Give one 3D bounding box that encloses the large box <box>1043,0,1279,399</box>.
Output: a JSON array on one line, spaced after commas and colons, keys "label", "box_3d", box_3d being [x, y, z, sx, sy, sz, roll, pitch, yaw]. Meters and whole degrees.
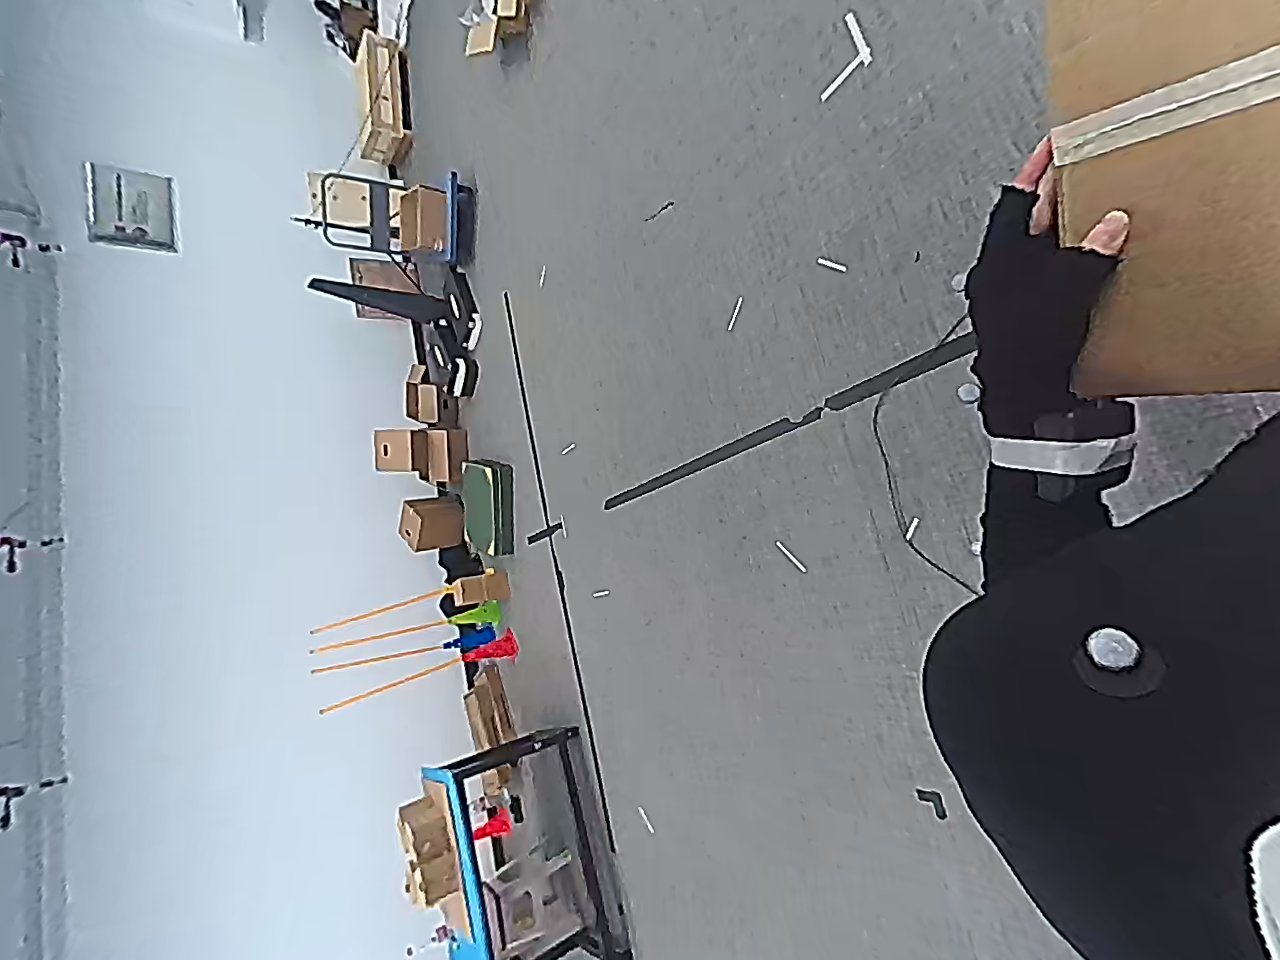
[{"label": "large box", "box_3d": [0.473, -0.249, 0.245, 0.408, 0.320, 0.320, 6, 124, 51]}]
